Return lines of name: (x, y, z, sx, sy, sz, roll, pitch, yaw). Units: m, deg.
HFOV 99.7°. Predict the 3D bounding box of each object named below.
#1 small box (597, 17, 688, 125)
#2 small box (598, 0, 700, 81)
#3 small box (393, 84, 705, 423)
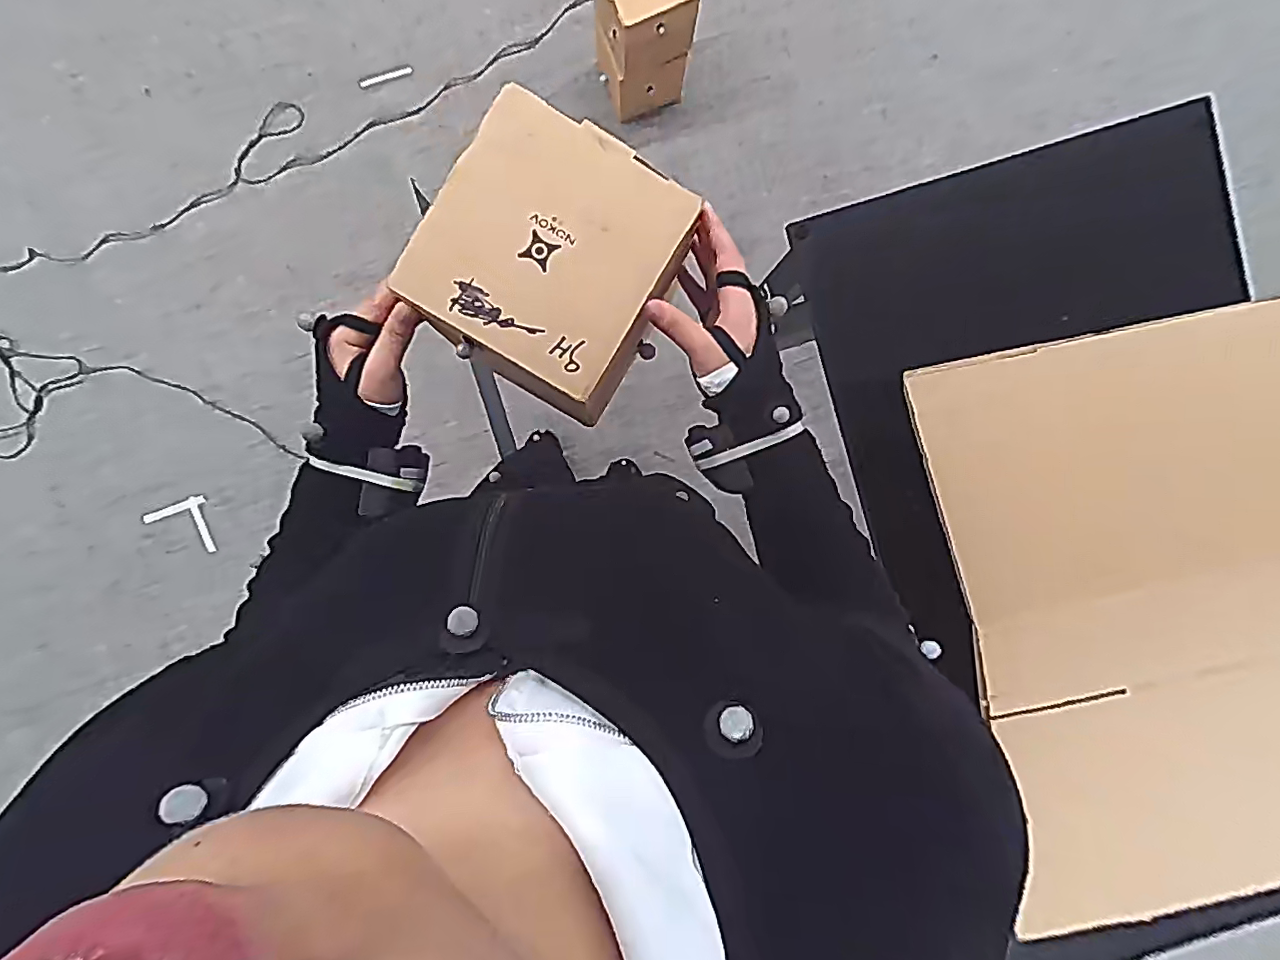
small box: (0.003, -1.032, 1.342, 0.179, 0.176, 0.168, -21, 94, 1)
small box: (0.013, -1.025, 1.180, 0.179, 0.176, 0.168, -24, 95, -1)
small box: (-0.068, -0.170, 0.468, 0.168, 0.176, 0.179, 31, 87, -1)
